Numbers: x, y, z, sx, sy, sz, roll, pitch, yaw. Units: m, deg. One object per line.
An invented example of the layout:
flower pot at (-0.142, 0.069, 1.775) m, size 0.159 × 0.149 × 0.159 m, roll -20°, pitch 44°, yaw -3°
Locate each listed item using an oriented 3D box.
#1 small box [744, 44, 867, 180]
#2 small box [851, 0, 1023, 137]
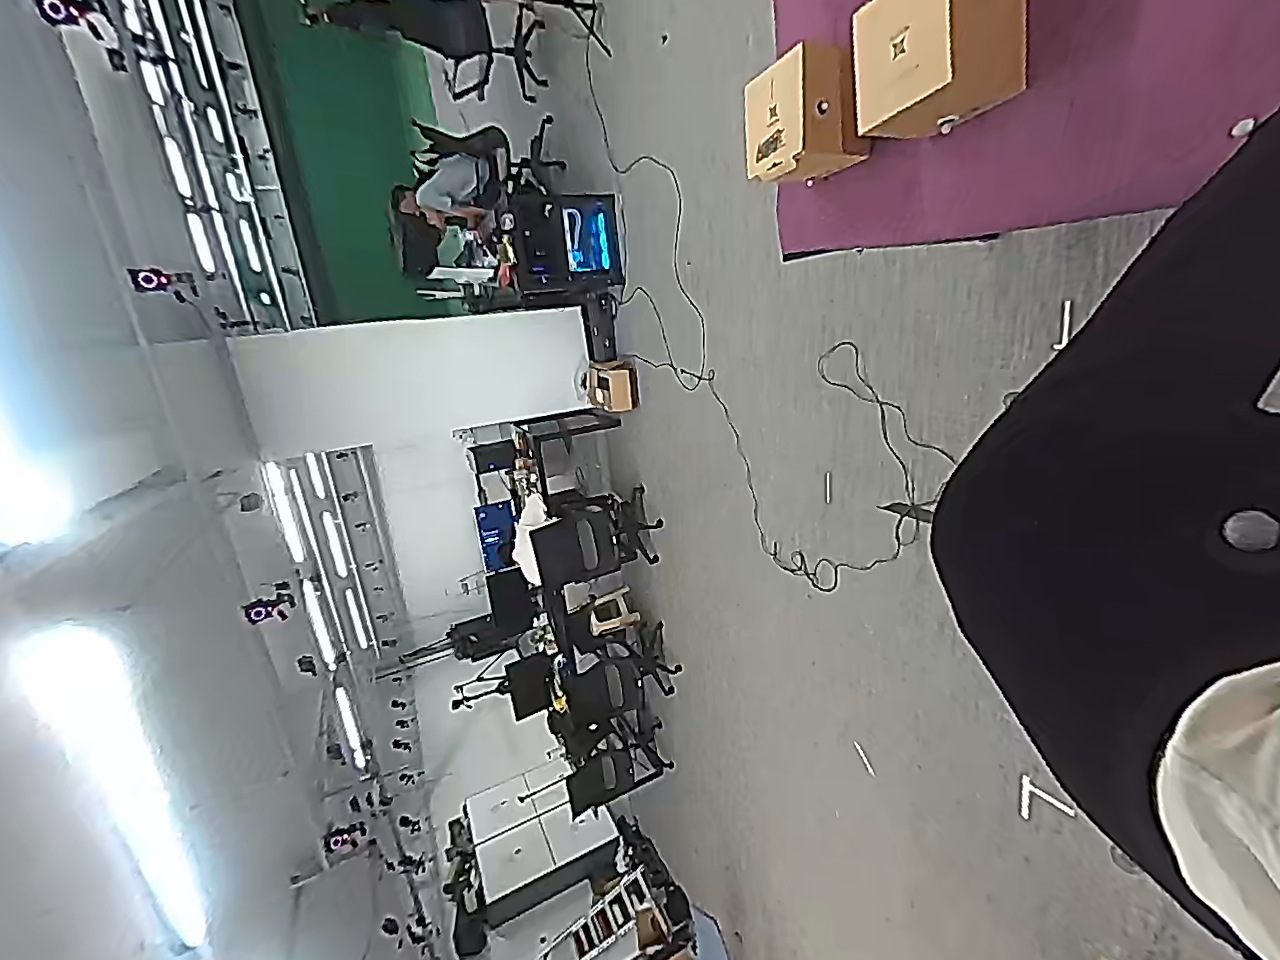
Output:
small box at (0.324, -0.706, 1.059) m, size 0.168 × 0.176 × 0.179 m, roll 22°, pitch 120°, yaw 62°
small box at (0.447, -0.650, 0.820) m, size 0.168 × 0.176 × 0.179 m, roll -163°, pitch 63°, yaw -64°
